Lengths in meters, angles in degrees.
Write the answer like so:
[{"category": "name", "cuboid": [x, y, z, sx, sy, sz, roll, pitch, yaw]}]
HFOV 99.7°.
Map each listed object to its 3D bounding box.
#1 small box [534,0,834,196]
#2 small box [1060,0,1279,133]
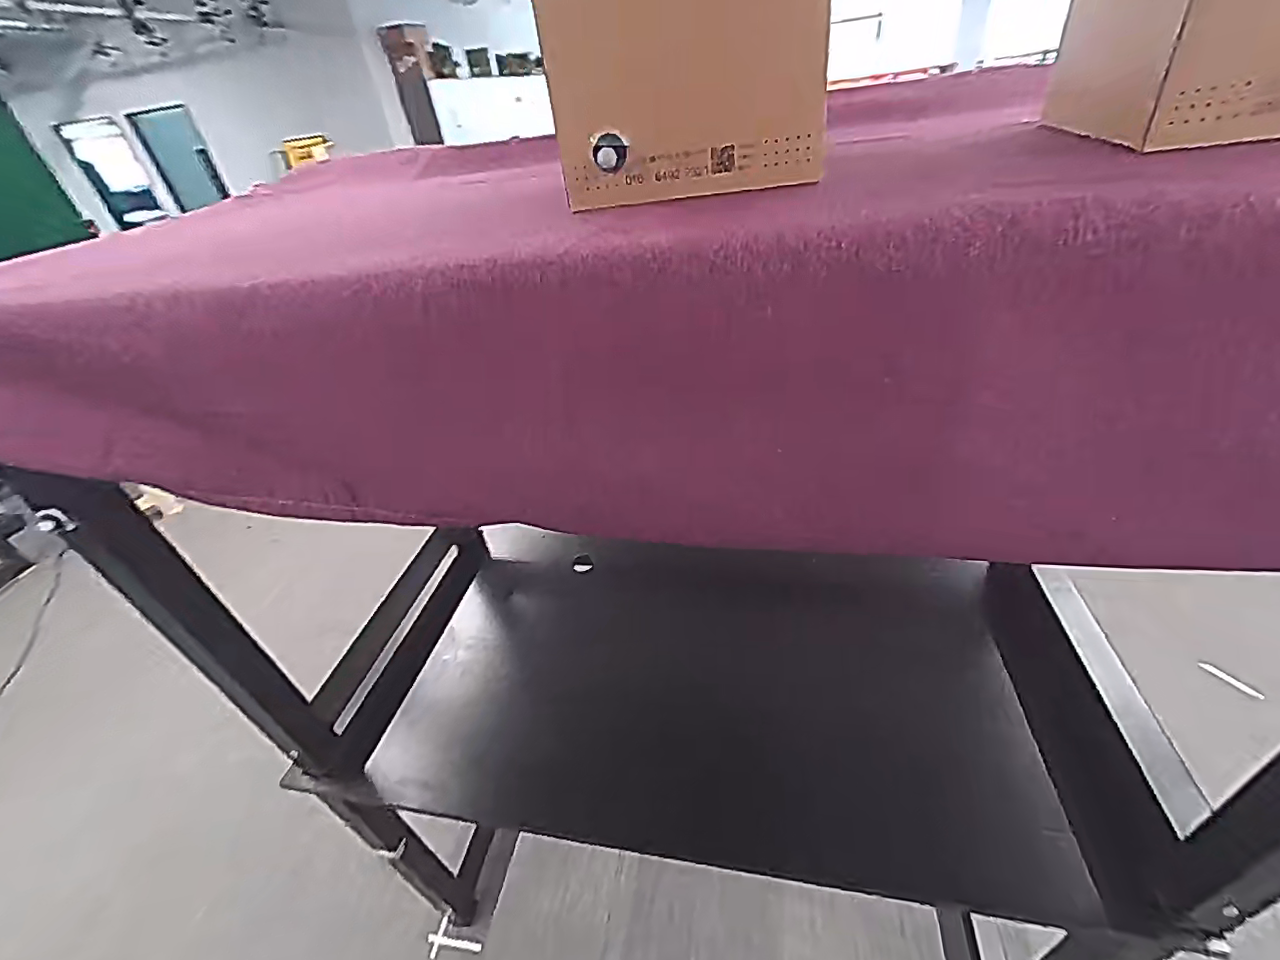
[{"category": "small box", "cuboid": [0.033, -0.298, 0.362, 0.168, 0.176, 0.179, -2, 35, 9]}, {"category": "small box", "cuboid": [0.352, -0.285, 0.272, 0.168, 0.176, 0.179, 2, 37, 17]}]
